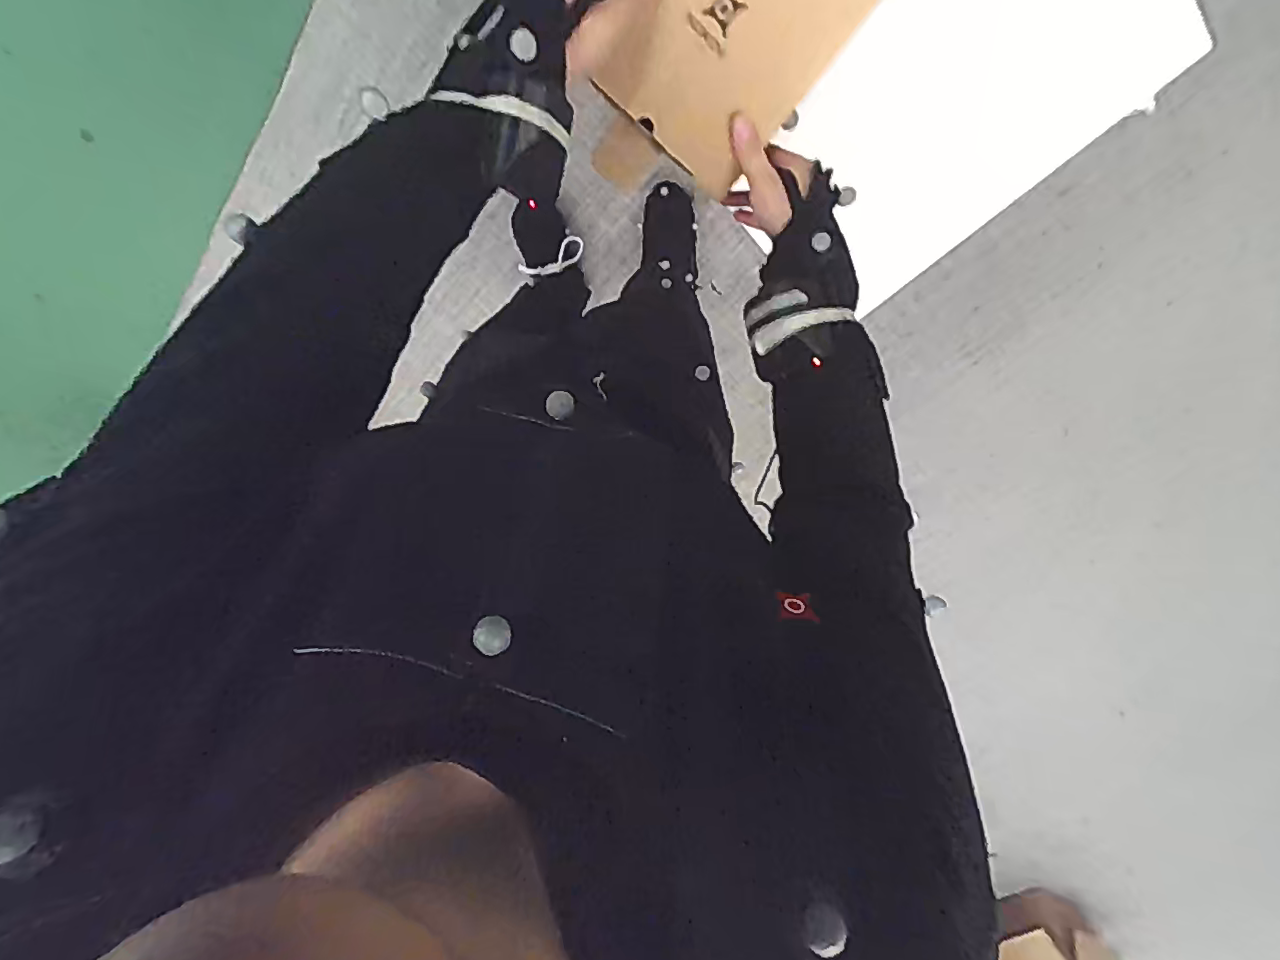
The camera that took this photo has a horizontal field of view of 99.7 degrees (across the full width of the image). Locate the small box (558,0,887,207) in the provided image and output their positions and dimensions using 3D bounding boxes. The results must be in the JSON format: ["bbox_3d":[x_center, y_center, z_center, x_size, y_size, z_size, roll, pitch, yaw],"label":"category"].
[{"bbox_3d":[0.054,-0.367,0.437,0.168,0.176,0.179,32,123,-23],"label":"small box"}]
